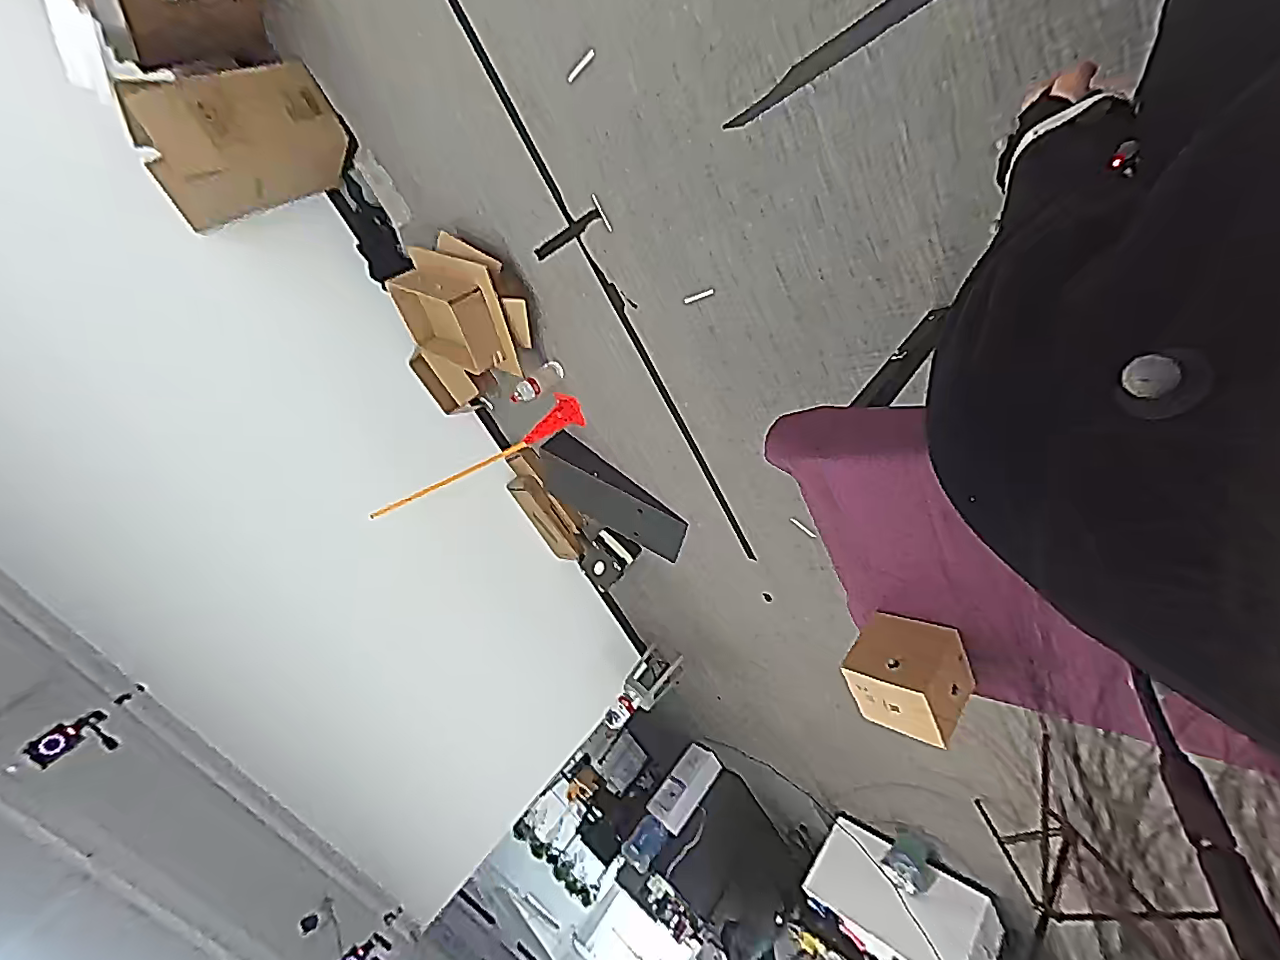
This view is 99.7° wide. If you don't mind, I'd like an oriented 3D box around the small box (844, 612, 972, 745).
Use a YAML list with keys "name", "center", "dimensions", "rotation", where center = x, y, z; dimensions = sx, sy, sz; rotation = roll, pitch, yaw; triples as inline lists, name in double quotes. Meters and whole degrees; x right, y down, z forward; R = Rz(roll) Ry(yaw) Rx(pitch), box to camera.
- name: "small box"
  center: [0.561, 0.398, 1.119]
  dimensions: [0.179, 0.176, 0.168]
  rotation: [3, 128, 53]
